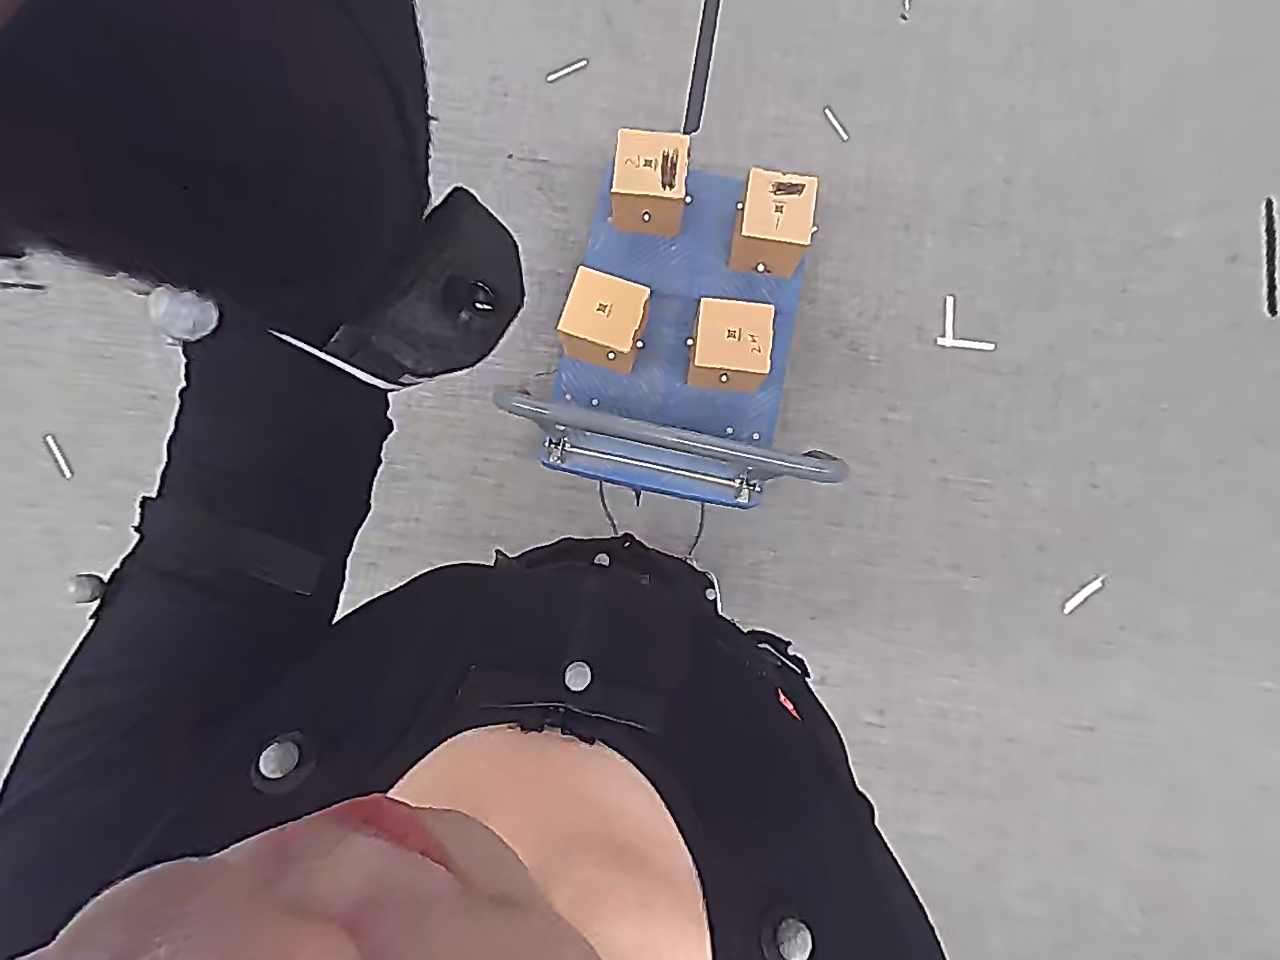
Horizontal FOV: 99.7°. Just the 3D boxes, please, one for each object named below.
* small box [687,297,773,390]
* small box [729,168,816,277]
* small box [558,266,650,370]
[{"bbox_3d":[0.214,-0.328,1.326,0.179,0.176,0.168,7,83,0],"label":"small box"},{"bbox_3d":[0.329,-0.643,1.366,0.168,0.176,0.179,9,84,0],"label":"small box"},{"bbox_3d":[-0.086,-0.389,1.328,0.179,0.176,0.168,18,83,-1],"label":"small box"}]
